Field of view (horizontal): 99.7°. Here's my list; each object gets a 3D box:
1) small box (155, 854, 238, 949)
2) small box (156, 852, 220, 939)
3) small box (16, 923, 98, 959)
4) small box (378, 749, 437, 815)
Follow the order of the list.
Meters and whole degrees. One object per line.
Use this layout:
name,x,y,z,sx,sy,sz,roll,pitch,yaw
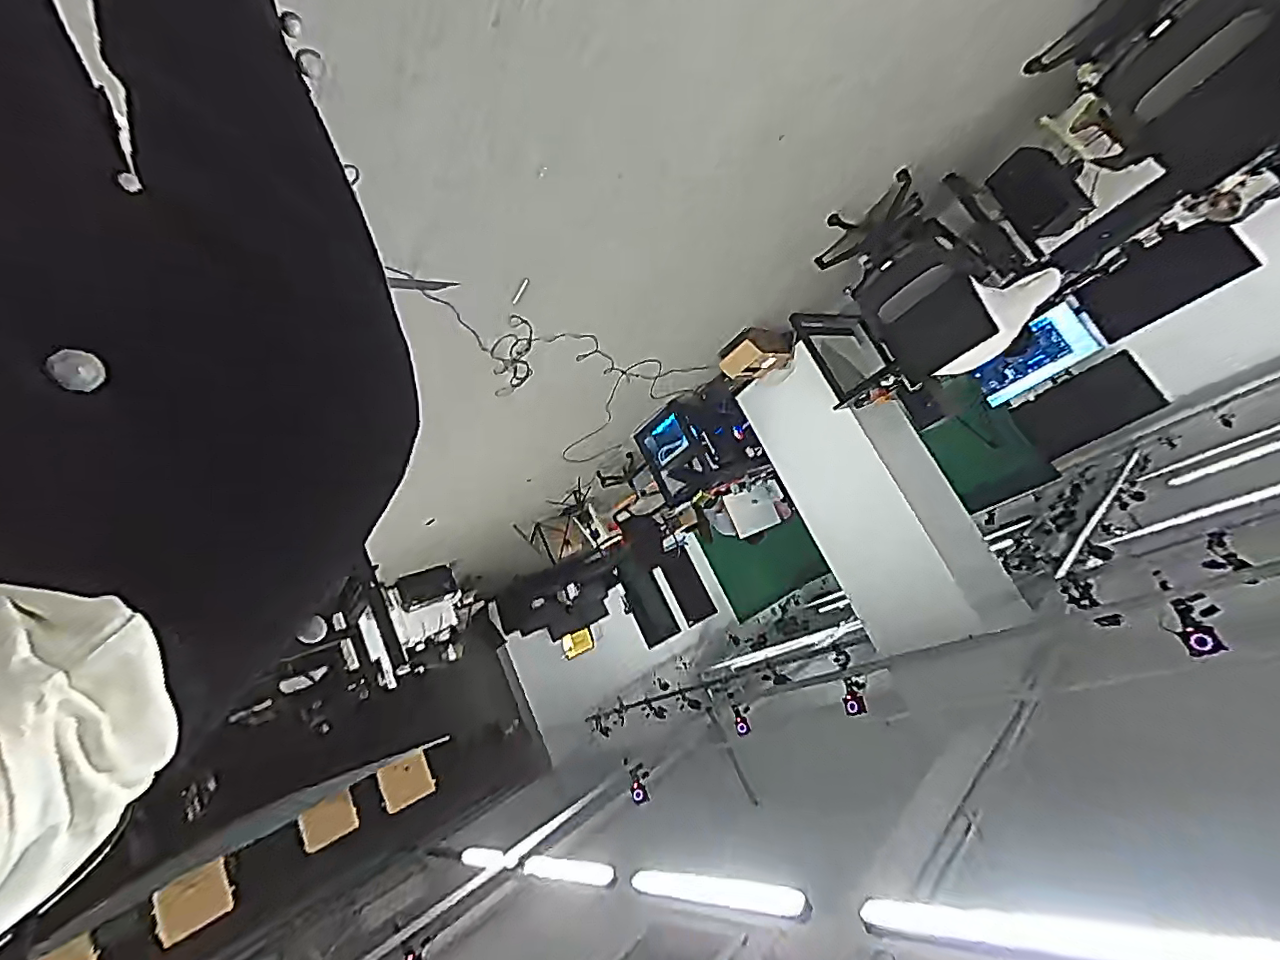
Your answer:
small box,-1.378,1.295,1.678,0.168,0.176,0.179,-15,164,-45
small box,-1.527,1.409,1.844,0.179,0.176,0.168,-13,162,-45
small box,-1.603,1.356,1.476,0.168,0.176,0.179,-14,163,-46
small box,-0.908,1.167,2.102,0.168,0.176,0.179,-17,163,-33
